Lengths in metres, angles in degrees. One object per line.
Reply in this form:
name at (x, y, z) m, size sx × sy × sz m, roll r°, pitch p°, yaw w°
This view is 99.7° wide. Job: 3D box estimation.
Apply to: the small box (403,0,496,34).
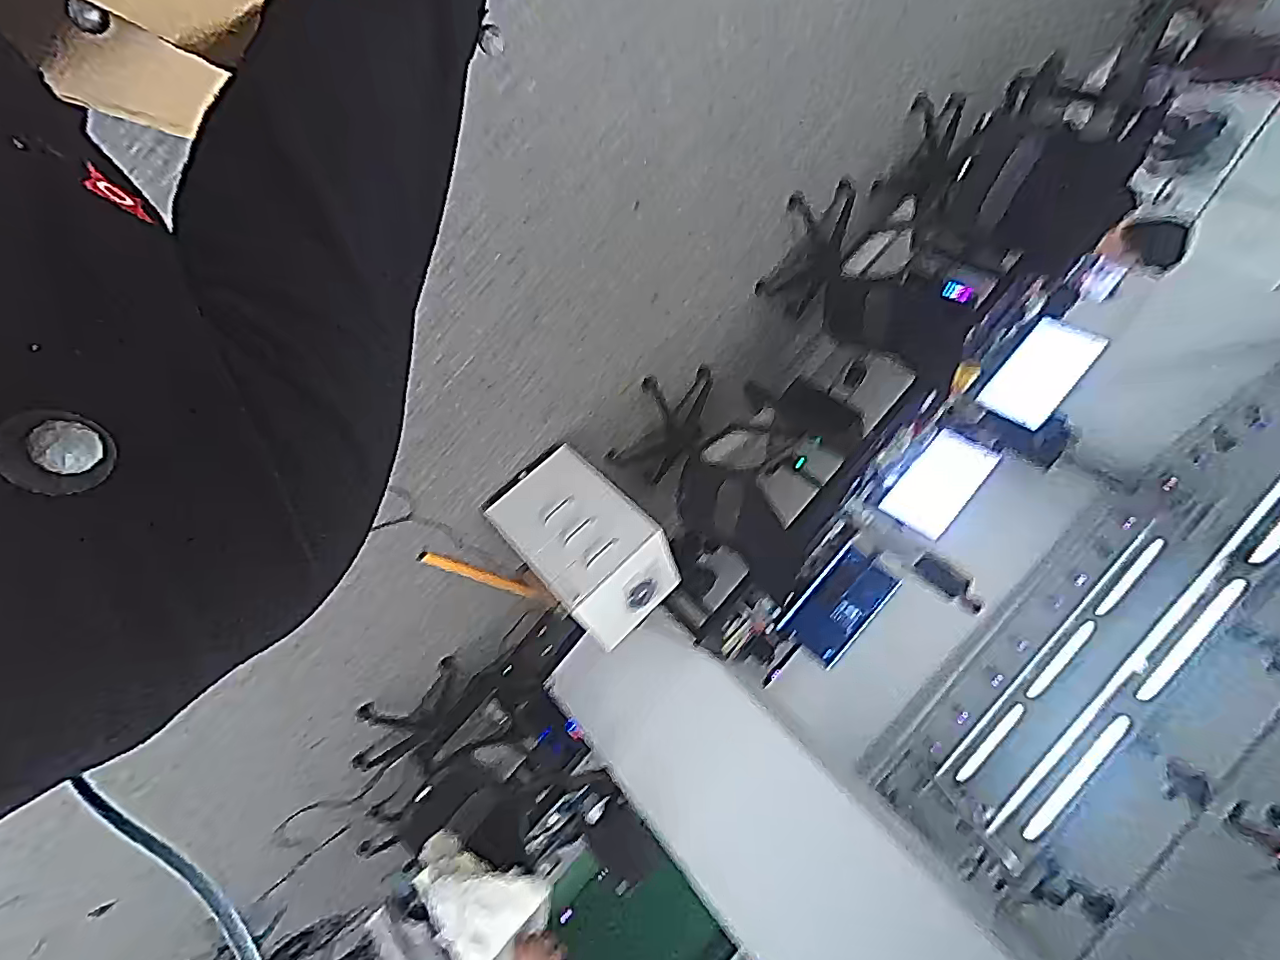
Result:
small box at (-0.109, -0.322, 0.189) m, size 0.168 × 0.176 × 0.179 m, roll -44°, pitch 160°, yaw 14°
